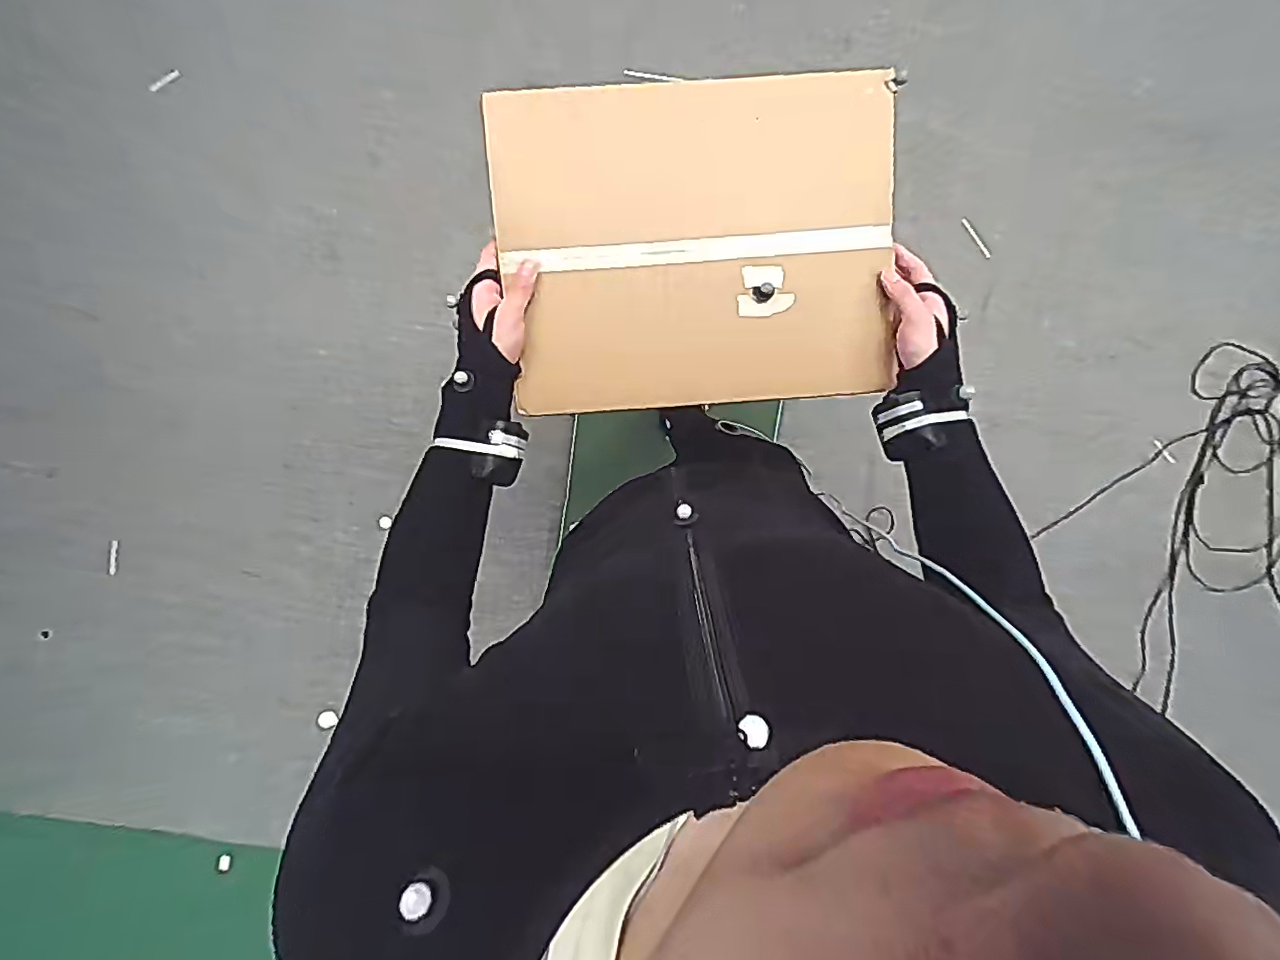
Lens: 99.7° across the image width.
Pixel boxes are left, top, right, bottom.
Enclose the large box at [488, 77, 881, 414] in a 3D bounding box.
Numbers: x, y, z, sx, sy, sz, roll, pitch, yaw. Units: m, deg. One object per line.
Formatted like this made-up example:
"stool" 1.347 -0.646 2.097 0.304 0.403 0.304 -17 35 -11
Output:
"large box" 0.050 -0.266 0.716 0.408 0.320 0.320 -5 101 -2
